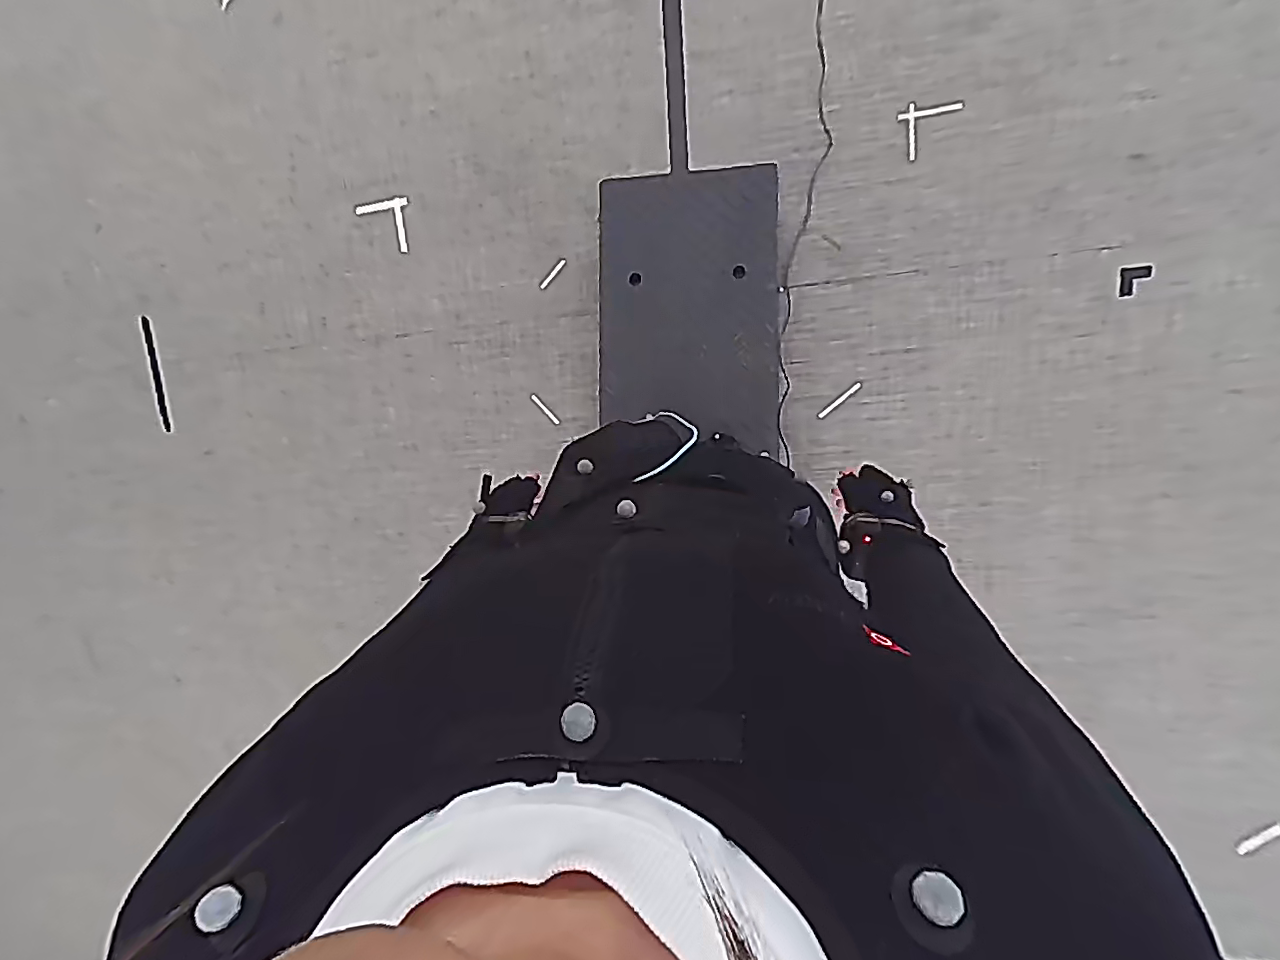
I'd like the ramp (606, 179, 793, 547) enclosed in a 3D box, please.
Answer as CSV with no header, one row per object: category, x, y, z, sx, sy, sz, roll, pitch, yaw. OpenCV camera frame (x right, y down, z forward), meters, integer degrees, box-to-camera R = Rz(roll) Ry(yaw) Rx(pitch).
ramp,0.149,-0.319,1.489,0.509,0.206,0.991,-3,95,11
